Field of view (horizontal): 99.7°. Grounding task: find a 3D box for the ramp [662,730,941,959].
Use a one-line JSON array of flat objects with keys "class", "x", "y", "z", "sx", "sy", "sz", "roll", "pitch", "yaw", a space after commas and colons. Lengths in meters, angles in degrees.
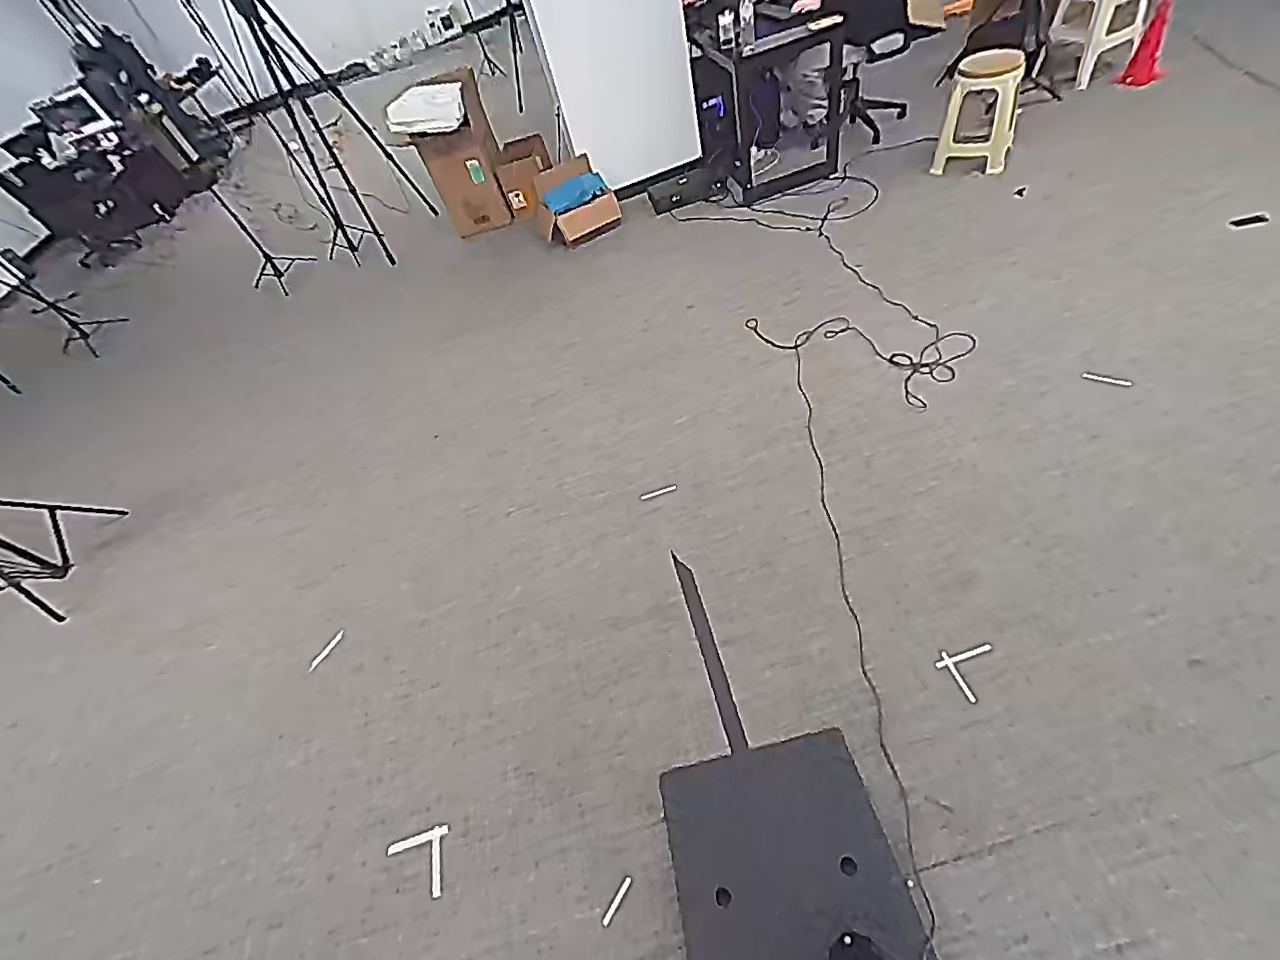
[{"class": "ramp", "x": 0.353, "y": 1.023, "z": 1.030, "sx": 0.509, "sy": 0.206, "sz": 0.991, "roll": -19, "pitch": 48, "yaw": 3}]
